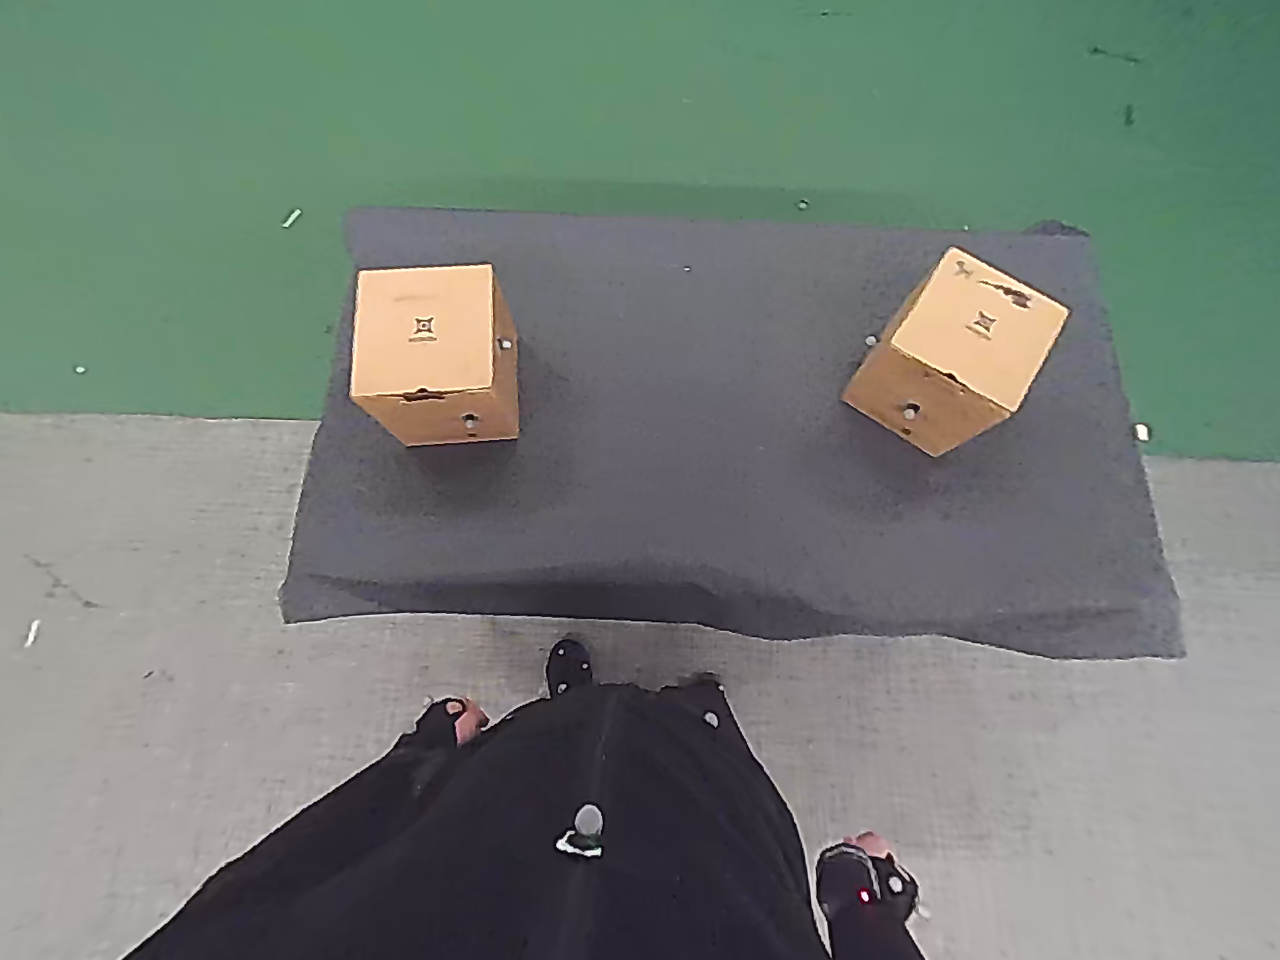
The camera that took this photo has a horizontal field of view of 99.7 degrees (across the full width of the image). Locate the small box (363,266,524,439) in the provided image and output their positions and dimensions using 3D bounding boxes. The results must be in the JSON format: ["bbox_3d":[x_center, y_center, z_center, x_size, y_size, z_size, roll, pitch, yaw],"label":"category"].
[{"bbox_3d":[-0.255,-0.162,0.737,0.168,0.176,0.179,-4,74,-4],"label":"small box"}]

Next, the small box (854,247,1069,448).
[{"bbox_3d":[0.424,-0.170,0.748,0.168,0.176,0.179,34,78,8],"label":"small box"}]
